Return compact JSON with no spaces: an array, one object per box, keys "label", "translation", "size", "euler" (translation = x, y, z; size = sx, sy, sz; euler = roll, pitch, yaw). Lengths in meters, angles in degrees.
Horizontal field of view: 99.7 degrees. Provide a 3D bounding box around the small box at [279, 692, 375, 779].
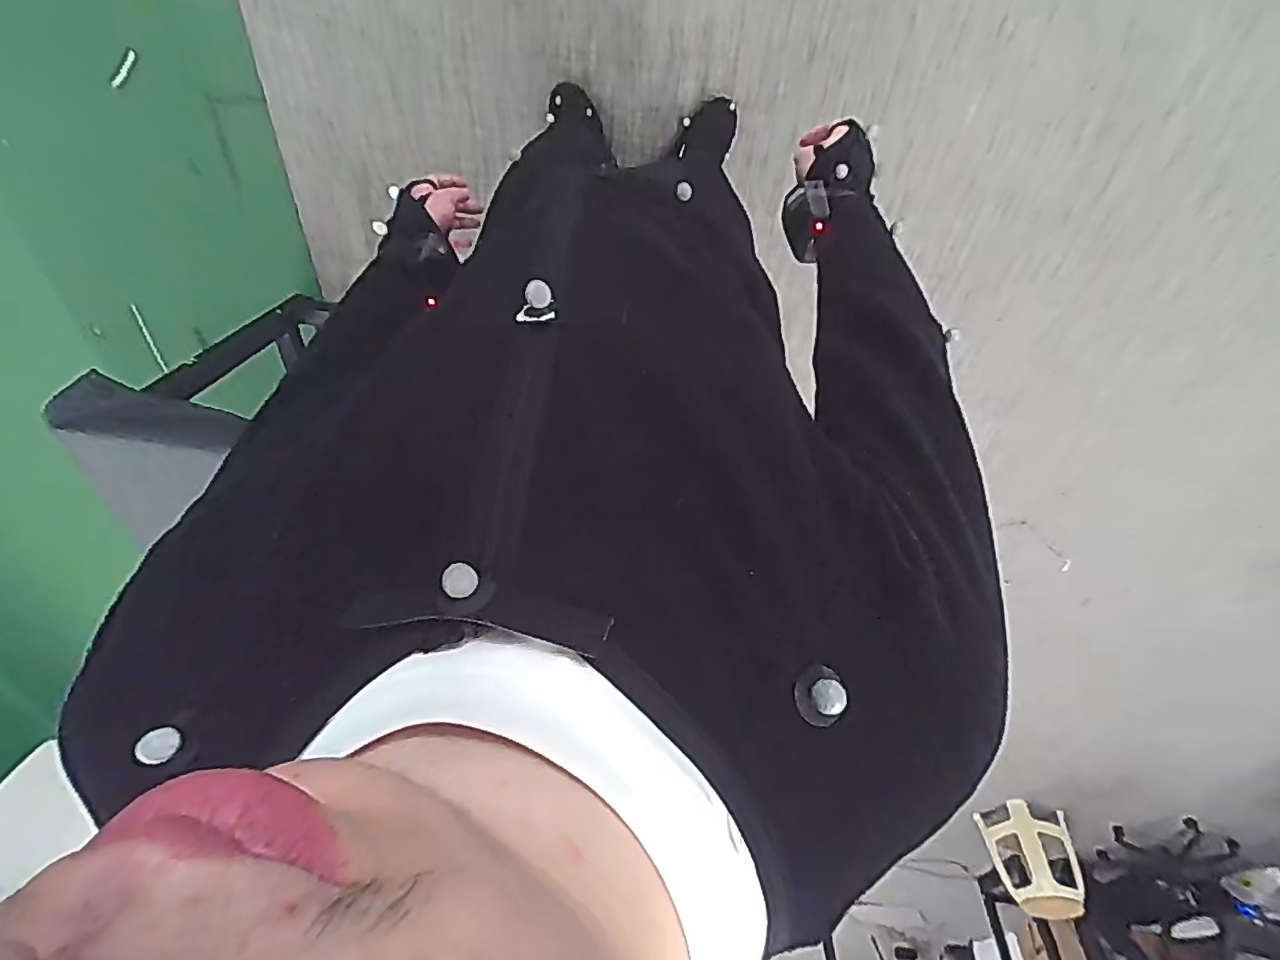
[{"label":"small box","translation":[-0.924,0.758,1.613],"size":[0.168,0.176,0.179],"euler":[8,129,2]}]
